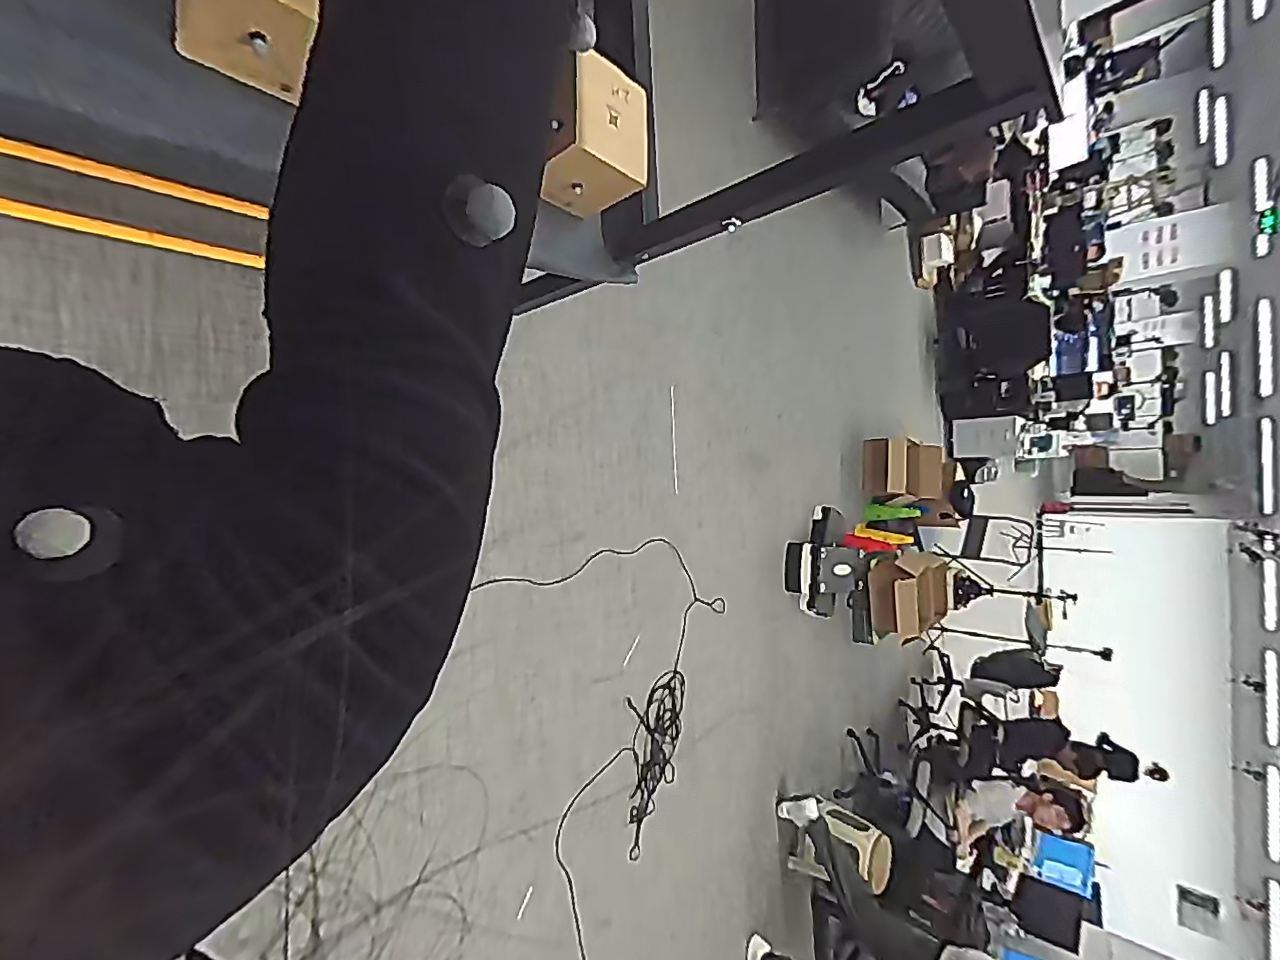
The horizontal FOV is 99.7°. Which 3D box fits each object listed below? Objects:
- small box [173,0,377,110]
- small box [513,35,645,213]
[{"bbox_3d":[-0.417,-0.577,0.619,0.168,0.176,0.179,0,89,-47],"label":"small box"},{"bbox_3d":[-0.108,-0.603,0.949,0.168,0.176,0.179,2,87,-47],"label":"small box"}]
